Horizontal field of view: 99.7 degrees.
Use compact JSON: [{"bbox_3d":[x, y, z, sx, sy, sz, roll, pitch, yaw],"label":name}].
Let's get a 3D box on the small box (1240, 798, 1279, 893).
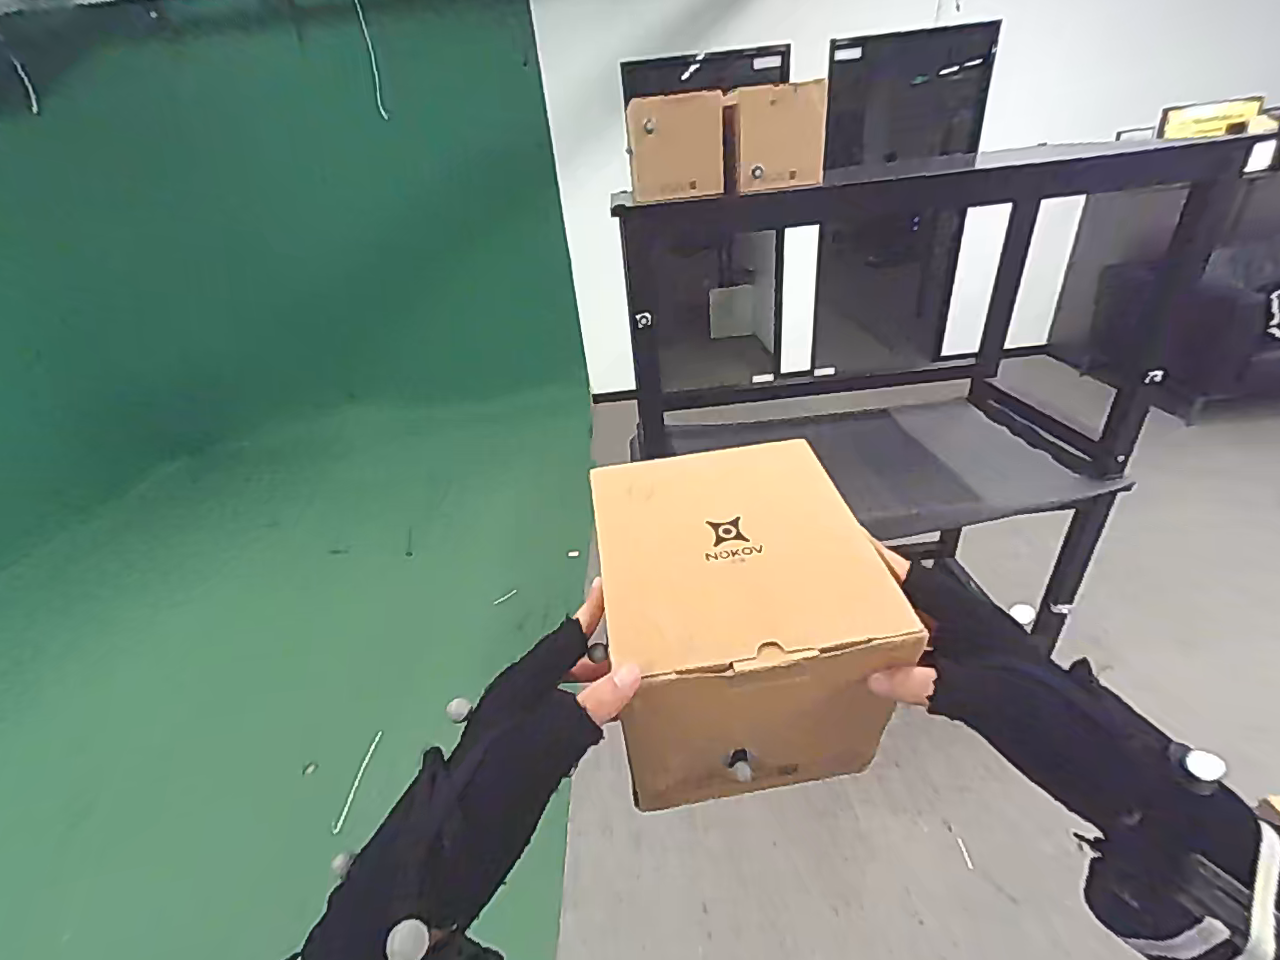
[{"bbox_3d":[1.498,0.824,1.177,0.179,0.176,0.168,-4,29,6],"label":"small box"}]
